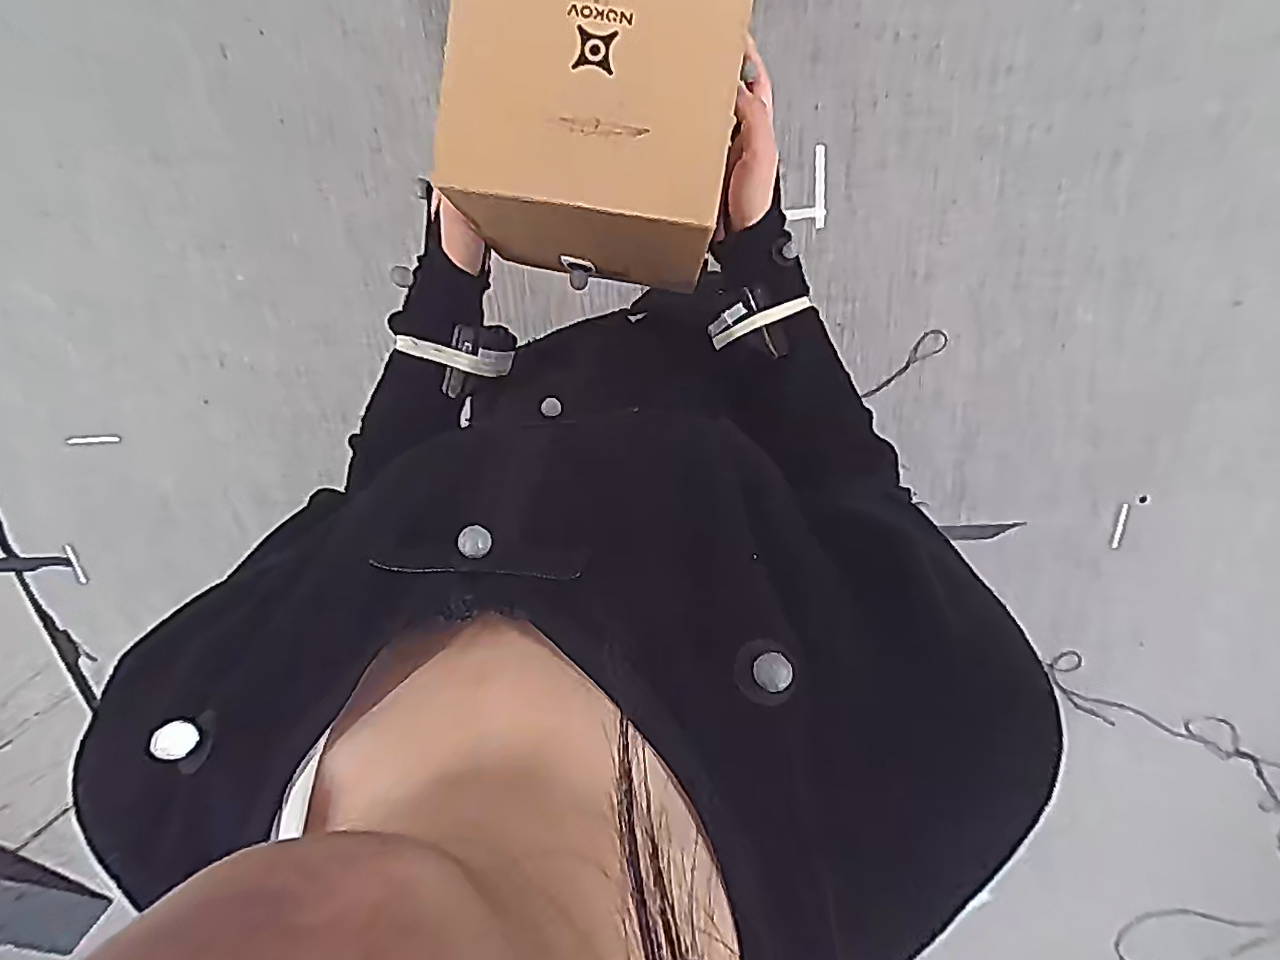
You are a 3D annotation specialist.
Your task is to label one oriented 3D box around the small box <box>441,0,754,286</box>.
[{"bbox_3d":[-0.022,-0.255,0.382,0.168,0.176,0.179,8,97,0],"label":"small box"}]
